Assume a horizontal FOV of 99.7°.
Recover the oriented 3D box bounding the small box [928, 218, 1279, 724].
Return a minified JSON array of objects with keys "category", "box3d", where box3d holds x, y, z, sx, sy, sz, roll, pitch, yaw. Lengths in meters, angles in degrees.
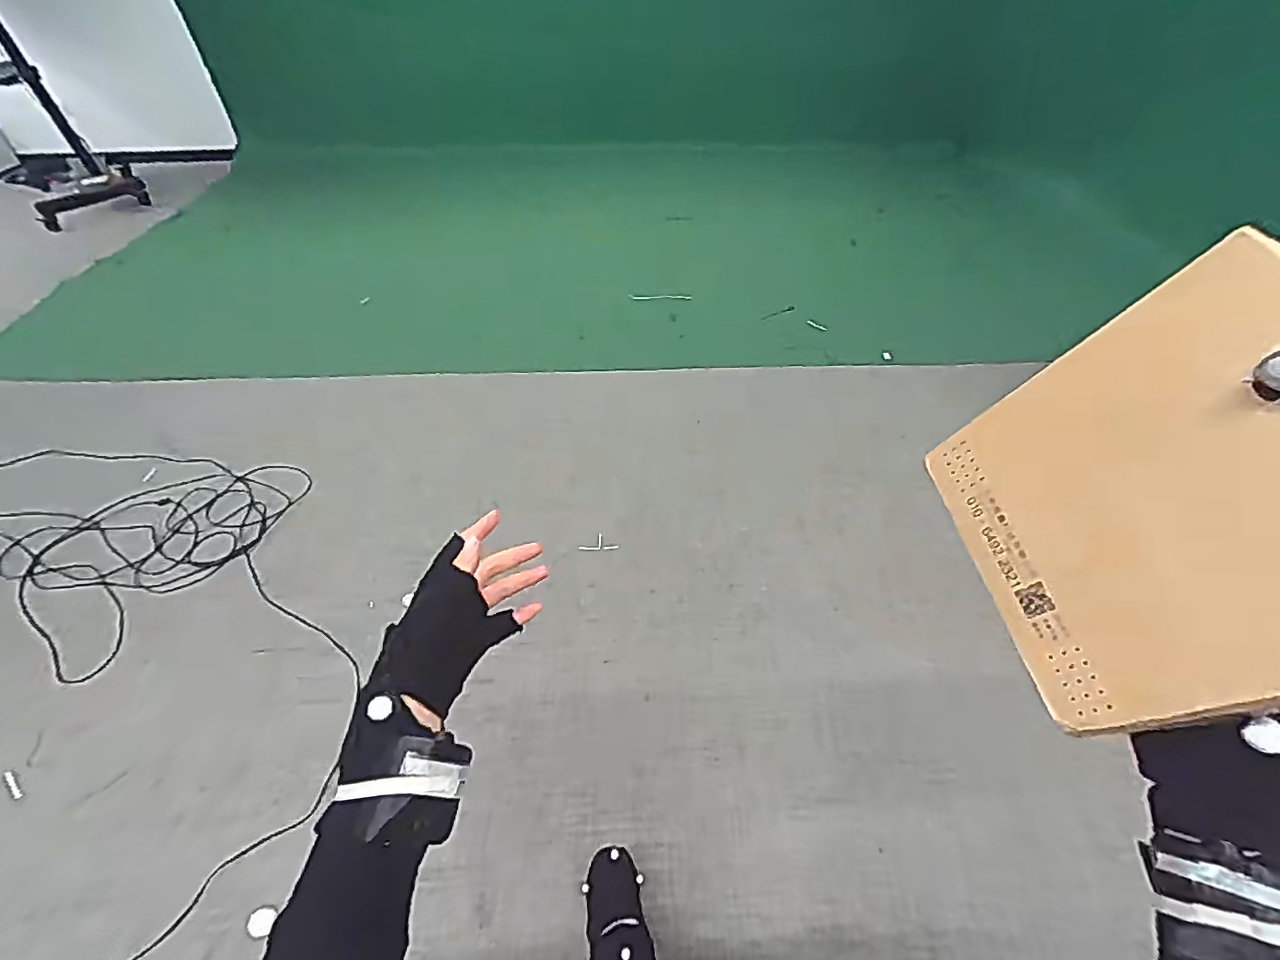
[{"category":"small box","box3d":[0.292,0.016,0.270,0.179,0.176,0.168,8,53,-25]}]
